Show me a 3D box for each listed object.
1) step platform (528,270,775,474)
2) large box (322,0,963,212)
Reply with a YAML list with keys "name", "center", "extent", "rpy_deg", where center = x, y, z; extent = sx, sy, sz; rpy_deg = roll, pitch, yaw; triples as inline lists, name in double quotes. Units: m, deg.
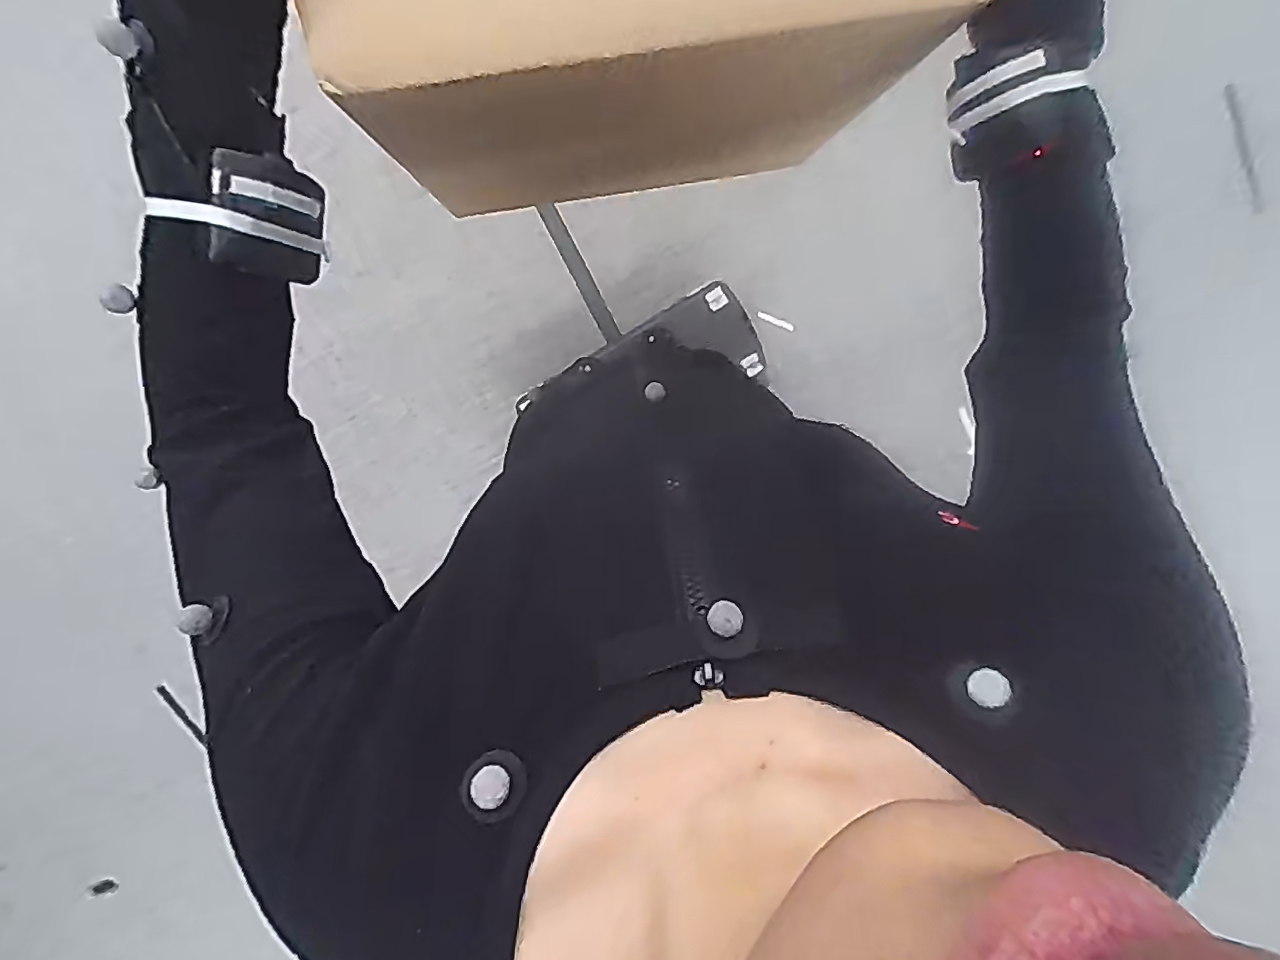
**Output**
- name: "step platform"
  center: [0.027, -0.298, 1.525]
  extent: [0.684, 0.204, 0.286]
  rpy_deg: [-31, 103, 4]
- name: "large box"
  center: [-0.023, -0.446, 0.436]
  extent: [0.408, 0.320, 0.320]
  rpy_deg: [-10, 105, -4]
